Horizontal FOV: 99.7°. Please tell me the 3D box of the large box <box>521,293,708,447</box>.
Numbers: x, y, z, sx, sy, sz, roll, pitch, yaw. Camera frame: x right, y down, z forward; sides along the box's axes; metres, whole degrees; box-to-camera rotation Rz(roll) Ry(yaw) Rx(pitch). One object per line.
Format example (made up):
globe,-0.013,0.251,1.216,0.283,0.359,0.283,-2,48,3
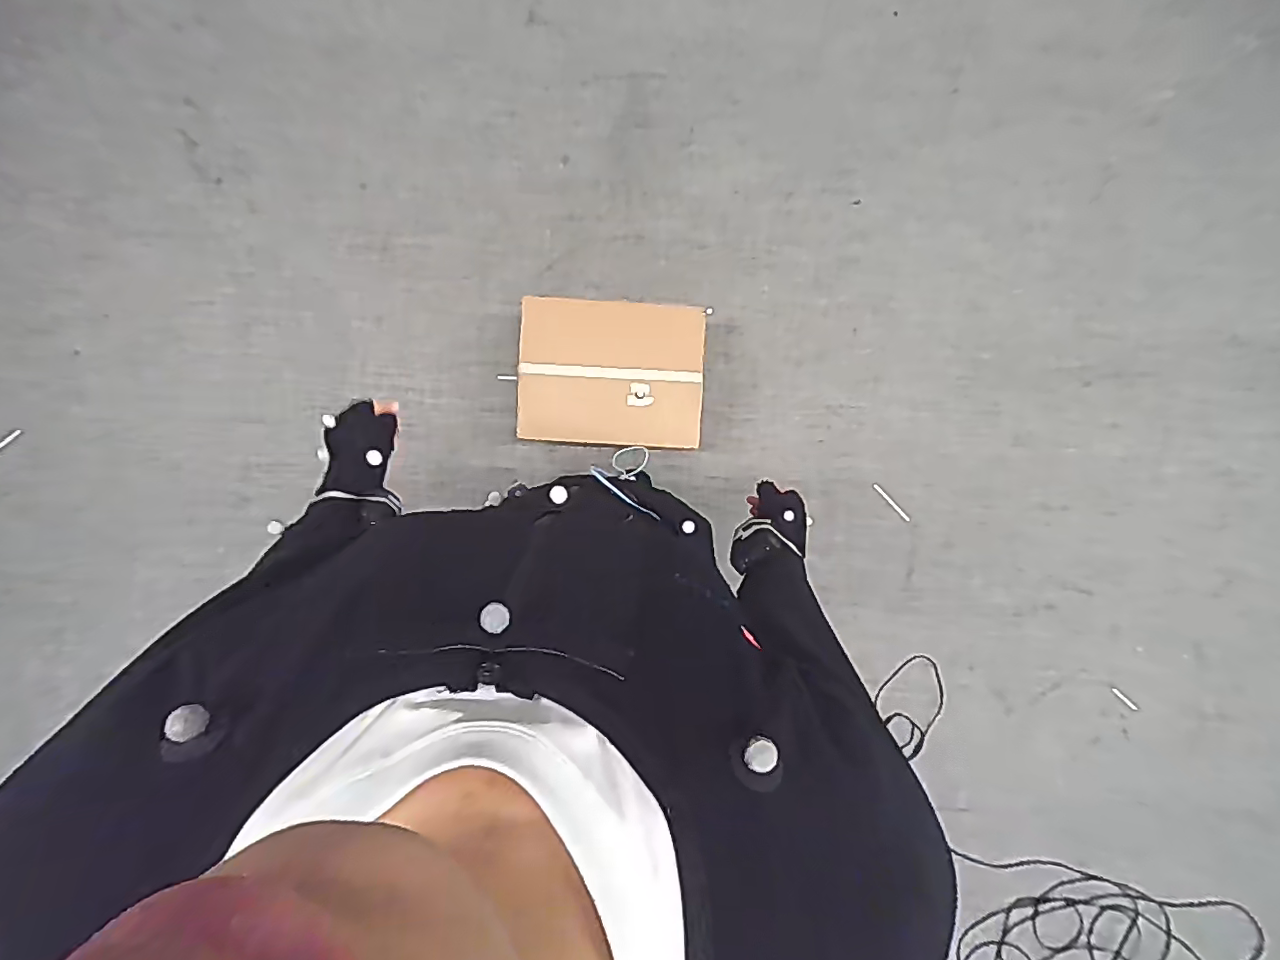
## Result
large box,-0.061,-0.247,1.329,0.408,0.320,0.320,3,92,-1
